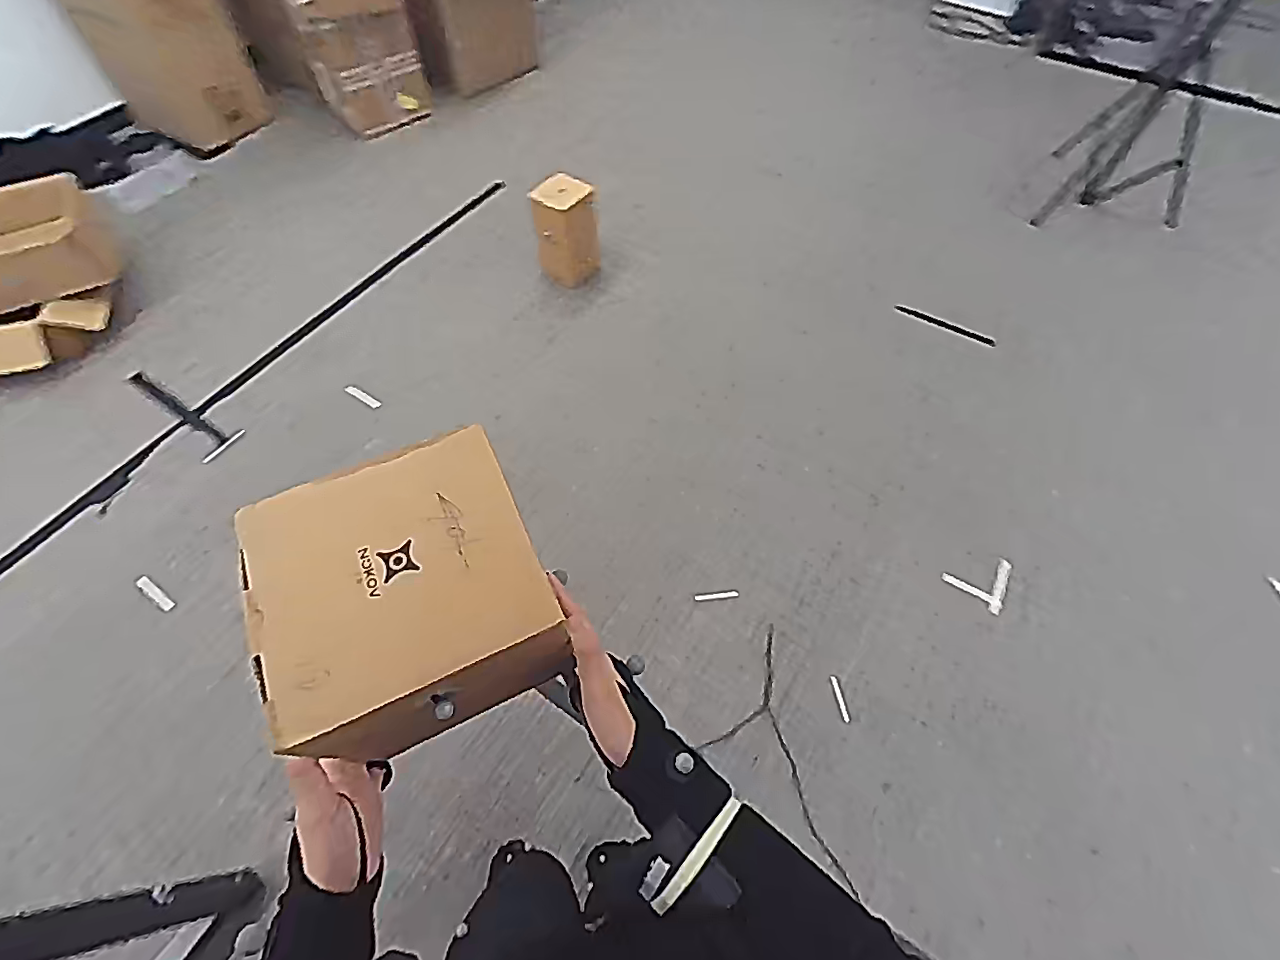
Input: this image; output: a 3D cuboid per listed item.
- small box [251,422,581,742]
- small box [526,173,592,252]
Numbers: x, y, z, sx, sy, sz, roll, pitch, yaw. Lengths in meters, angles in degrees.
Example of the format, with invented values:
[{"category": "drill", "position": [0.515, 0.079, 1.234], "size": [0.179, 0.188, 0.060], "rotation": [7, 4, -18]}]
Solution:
[{"category": "small box", "position": [-0.157, 0.088, 0.426], "size": [0.179, 0.176, 0.168], "rotation": [-22, 66, -14]}, {"category": "small box", "position": [-0.289, -0.973, 1.972], "size": [0.168, 0.176, 0.179], "rotation": [32, 66, 18]}]
